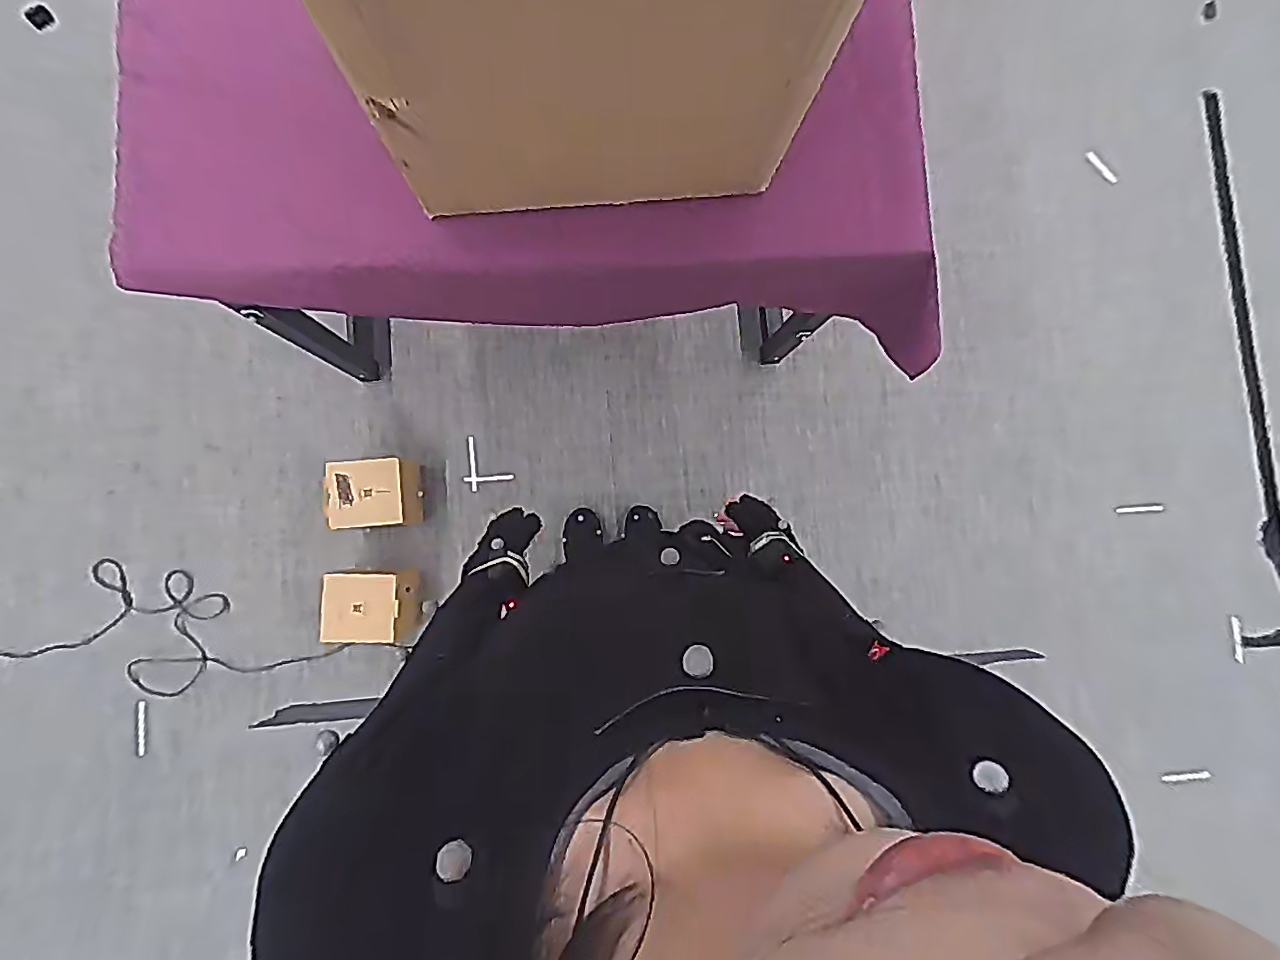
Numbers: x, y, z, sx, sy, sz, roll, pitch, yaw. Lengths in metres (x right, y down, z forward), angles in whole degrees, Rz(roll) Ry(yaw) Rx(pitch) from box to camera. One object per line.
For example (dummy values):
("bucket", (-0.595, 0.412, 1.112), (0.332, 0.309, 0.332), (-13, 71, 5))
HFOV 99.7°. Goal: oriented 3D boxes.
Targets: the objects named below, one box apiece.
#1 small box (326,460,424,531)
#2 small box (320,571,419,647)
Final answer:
("small box", (-0.675, 0.044, 1.392), (0.179, 0.176, 0.168), (-5, 86, -5))
("small box", (-0.679, 0.322, 1.374), (0.179, 0.176, 0.168), (1, 85, -3))
